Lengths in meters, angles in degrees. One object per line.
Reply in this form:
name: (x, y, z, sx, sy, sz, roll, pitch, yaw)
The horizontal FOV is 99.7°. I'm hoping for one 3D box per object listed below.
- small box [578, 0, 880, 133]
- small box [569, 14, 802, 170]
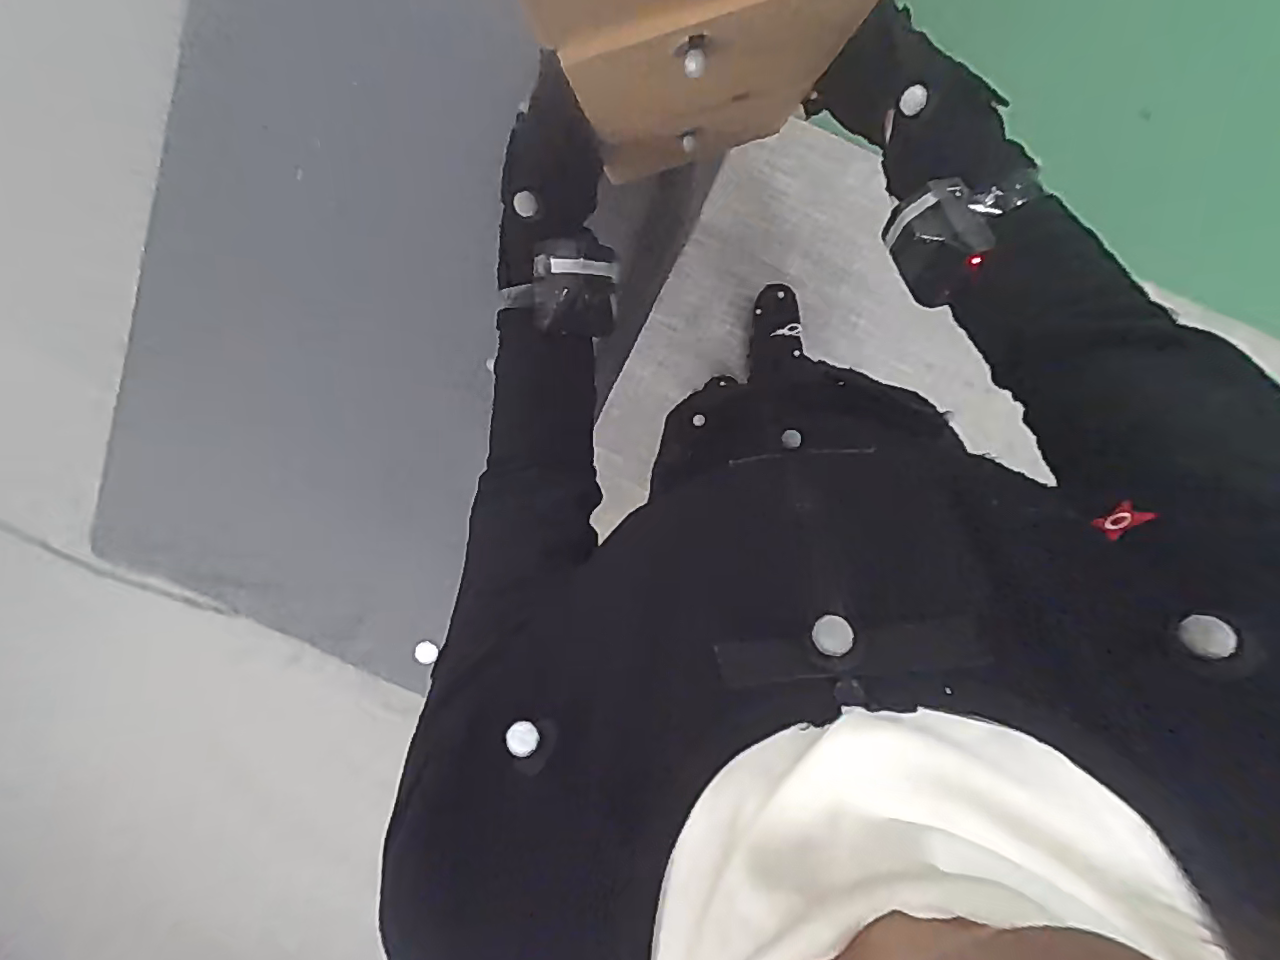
small box: (0.033, -0.331, 0.301, 0.168, 0.176, 0.179, -14, 110, 7)
small box: (0.037, -0.383, 0.453, 0.179, 0.176, 0.168, -12, 109, 7)
